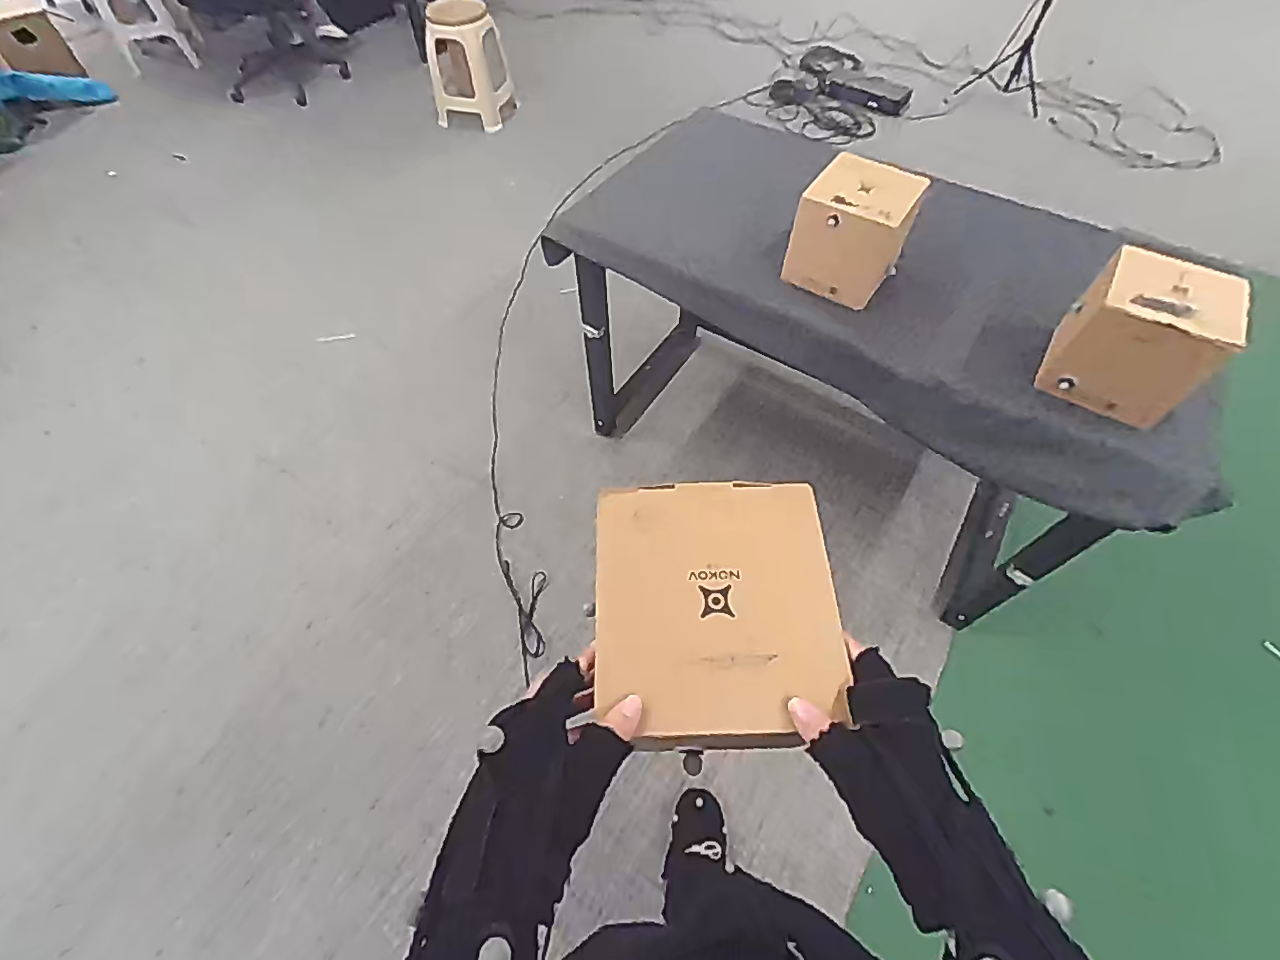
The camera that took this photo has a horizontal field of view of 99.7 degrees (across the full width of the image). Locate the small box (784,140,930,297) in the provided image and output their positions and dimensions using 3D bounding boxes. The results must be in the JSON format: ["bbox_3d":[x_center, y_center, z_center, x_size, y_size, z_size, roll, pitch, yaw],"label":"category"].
[{"bbox_3d":[0.378,-0.465,0.970,0.168,0.176,0.179,30,62,17],"label":"small box"}]

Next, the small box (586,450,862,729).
[{"bbox_3d":[0.051,0.093,0.427,0.168,0.176,0.179,-1,62,1],"label":"small box"}]

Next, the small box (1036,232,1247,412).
[{"bbox_3d":[0.749,-0.235,0.825,0.168,0.176,0.179,30,61,18],"label":"small box"}]
